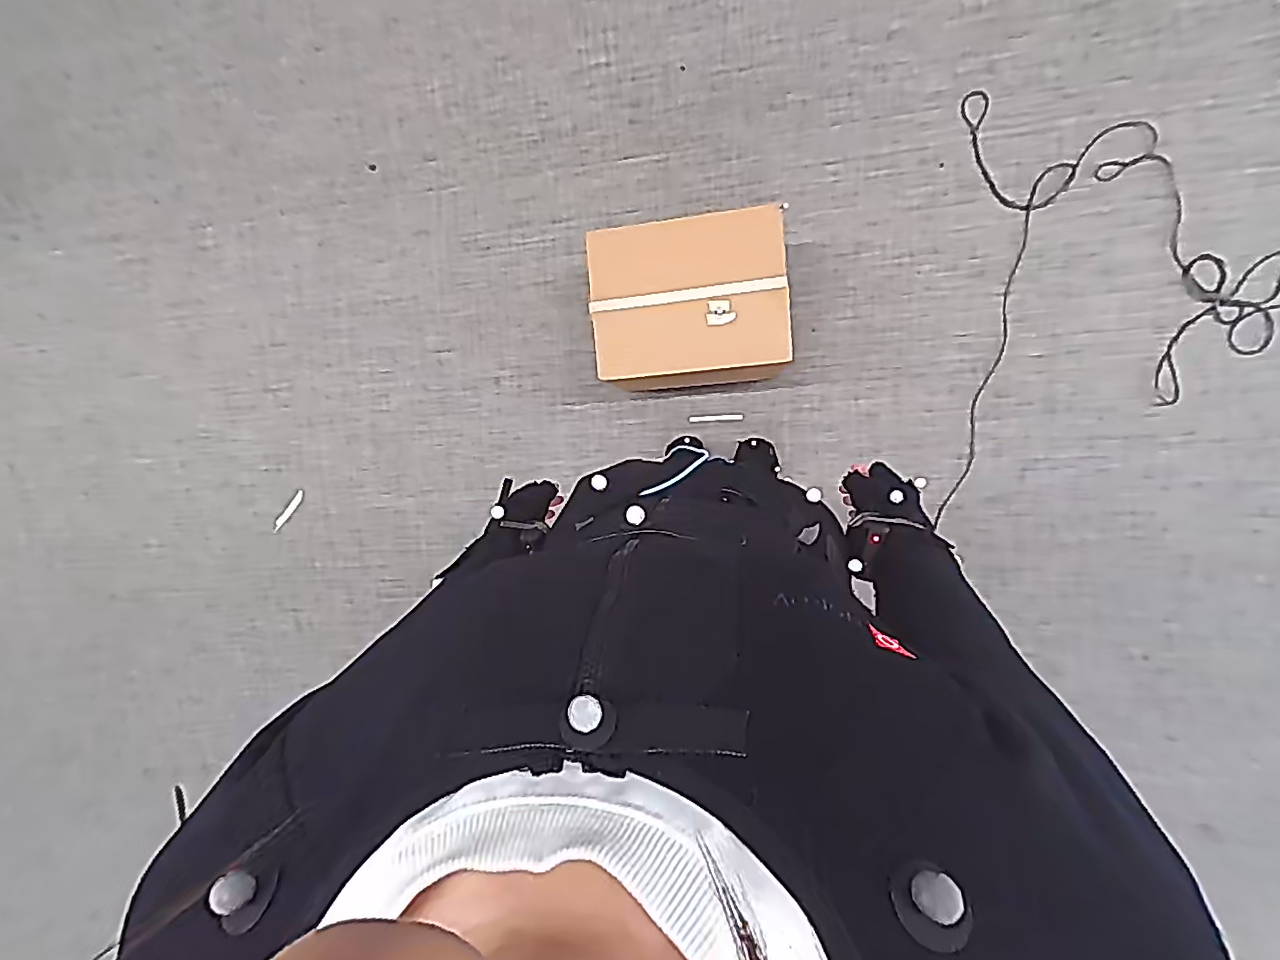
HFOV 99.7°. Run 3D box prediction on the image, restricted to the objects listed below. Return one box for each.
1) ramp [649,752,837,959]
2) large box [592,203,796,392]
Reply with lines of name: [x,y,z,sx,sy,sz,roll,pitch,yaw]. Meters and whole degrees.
ramp: [0.263,1.259,1.429,0.509,0.206,0.991,-2,94,12]
large box: [0.130,-0.393,1.261,0.408,0.320,0.320,-4,94,10]
